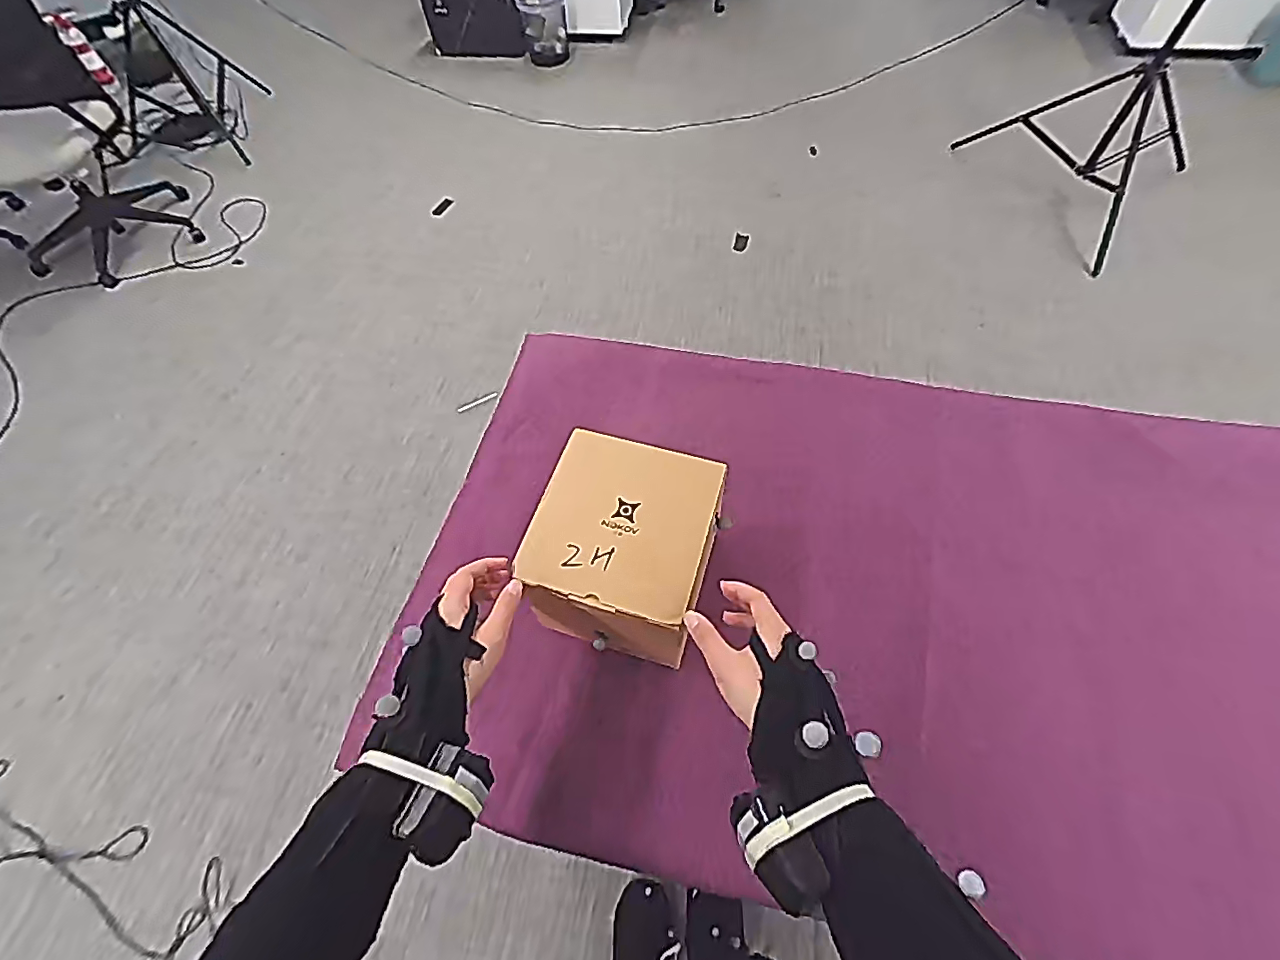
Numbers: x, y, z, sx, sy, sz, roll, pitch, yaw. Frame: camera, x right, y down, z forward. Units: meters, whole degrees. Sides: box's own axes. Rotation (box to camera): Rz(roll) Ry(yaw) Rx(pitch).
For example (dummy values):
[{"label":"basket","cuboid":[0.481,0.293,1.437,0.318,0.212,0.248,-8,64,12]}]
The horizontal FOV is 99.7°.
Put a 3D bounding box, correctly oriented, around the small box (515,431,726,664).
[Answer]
[{"label":"small box","cuboid":[-0.012,0.078,0.591,0.168,0.176,0.179,14,61,11]}]
